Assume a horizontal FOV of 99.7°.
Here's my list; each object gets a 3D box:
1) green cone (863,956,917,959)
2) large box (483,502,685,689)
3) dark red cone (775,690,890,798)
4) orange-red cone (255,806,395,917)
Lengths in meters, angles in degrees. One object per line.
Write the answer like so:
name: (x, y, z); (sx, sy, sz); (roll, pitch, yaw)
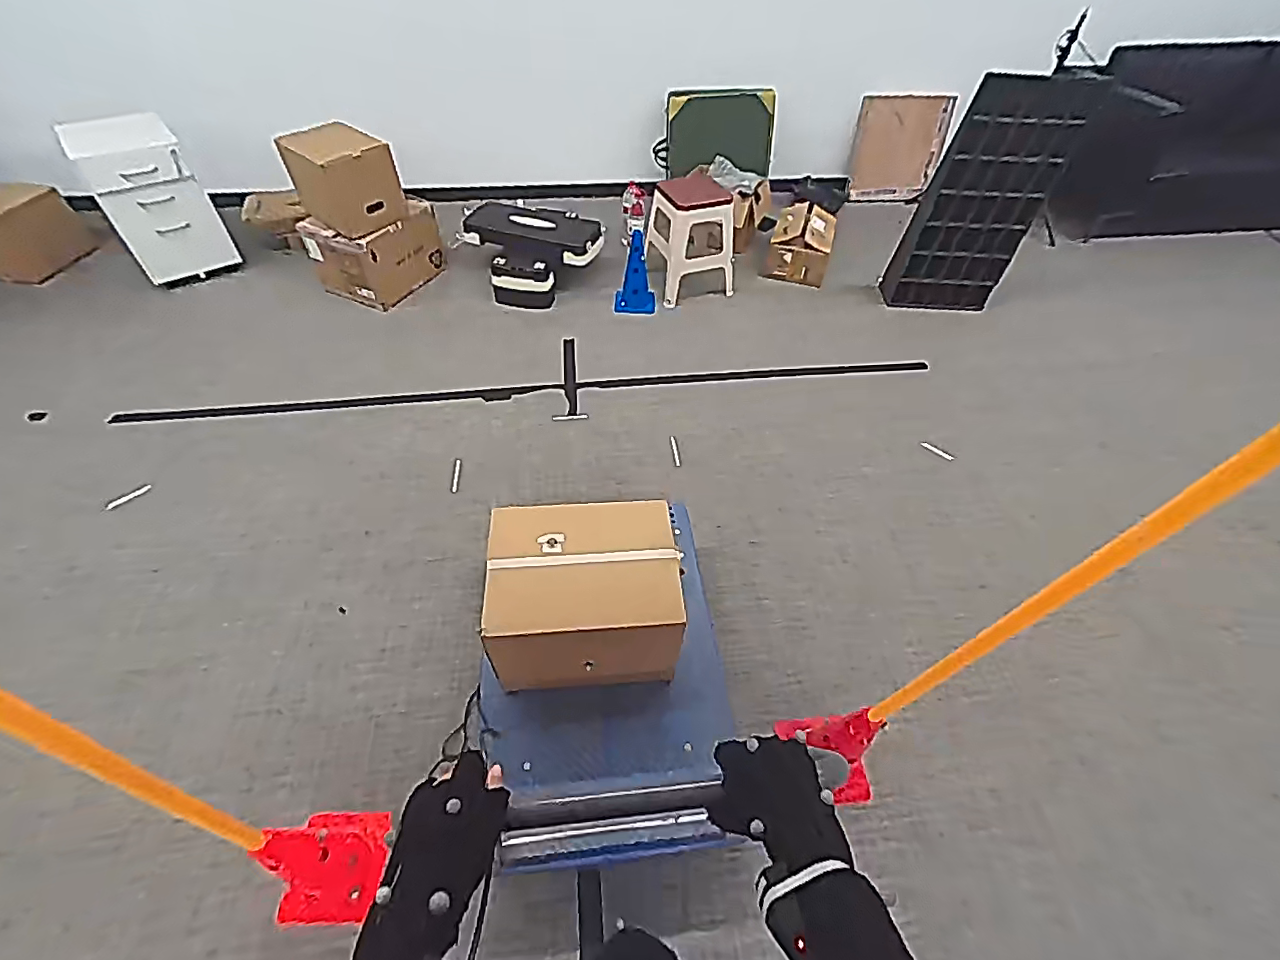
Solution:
green cone: (0.494, 0.941, 0.910); (0.202, 0.368, 0.200); (0, 49, -4)
large box: (-0.126, 0.274, 1.268); (0.408, 0.320, 0.320); (-3, 50, -5)
dark red cone: (0.461, 0.563, 1.212); (0.201, 0.394, 0.202); (-3, 50, -7)
orange-red cone: (-0.653, 0.716, 1.060); (0.198, 0.360, 0.199); (3, 48, -1)
